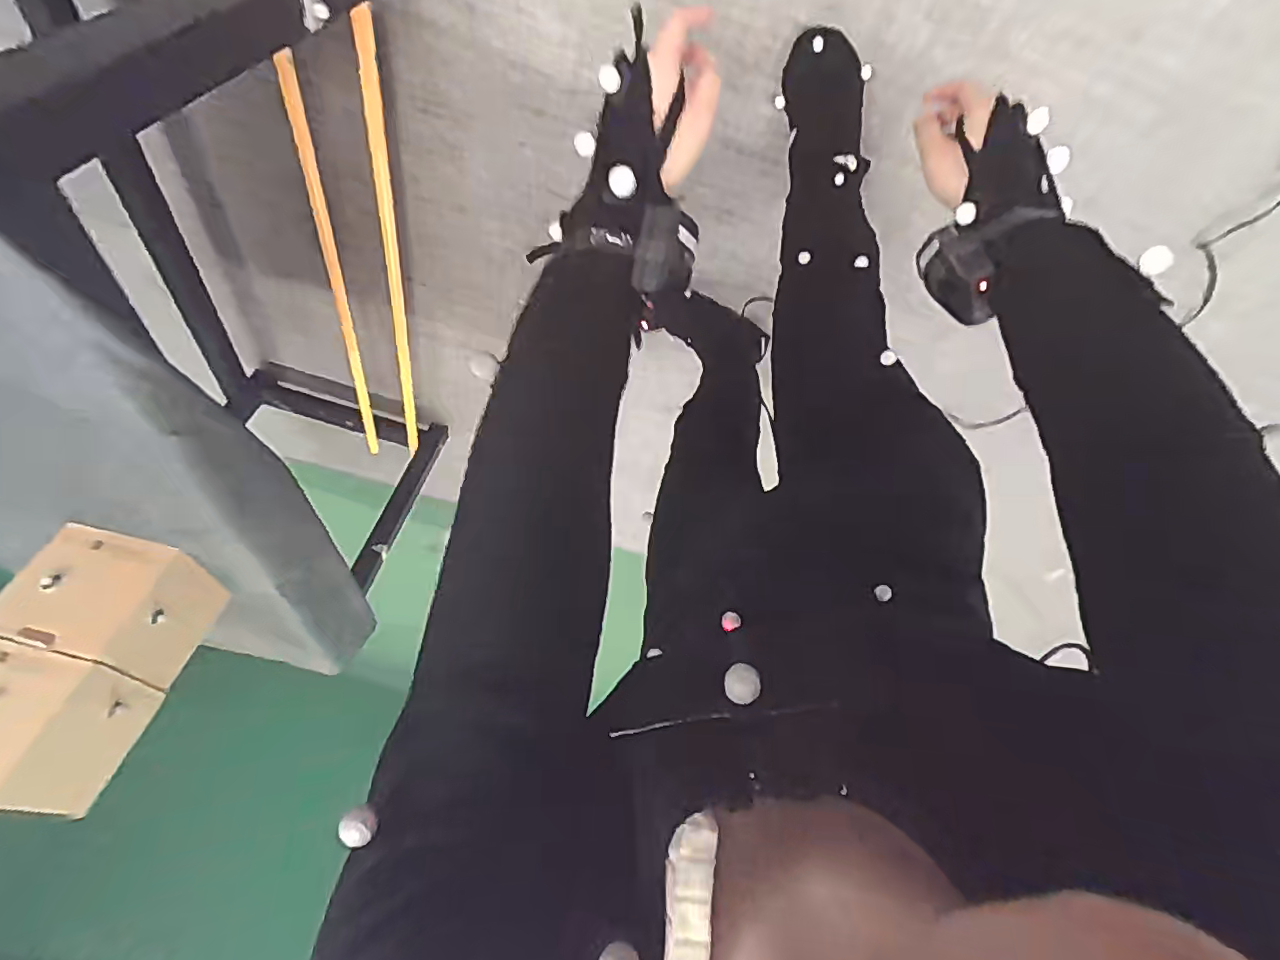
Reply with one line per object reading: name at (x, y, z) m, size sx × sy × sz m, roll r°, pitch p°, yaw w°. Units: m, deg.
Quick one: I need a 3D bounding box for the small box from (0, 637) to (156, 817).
small box at (-0.801, 0.316, 0.699) m, size 0.168 × 0.176 × 0.179 m, roll 16°, pitch 143°, yaw -2°

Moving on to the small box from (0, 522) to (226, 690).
small box at (-0.769, 0.184, 0.793) m, size 0.168 × 0.176 × 0.179 m, roll 16°, pitch 144°, yaw -1°
